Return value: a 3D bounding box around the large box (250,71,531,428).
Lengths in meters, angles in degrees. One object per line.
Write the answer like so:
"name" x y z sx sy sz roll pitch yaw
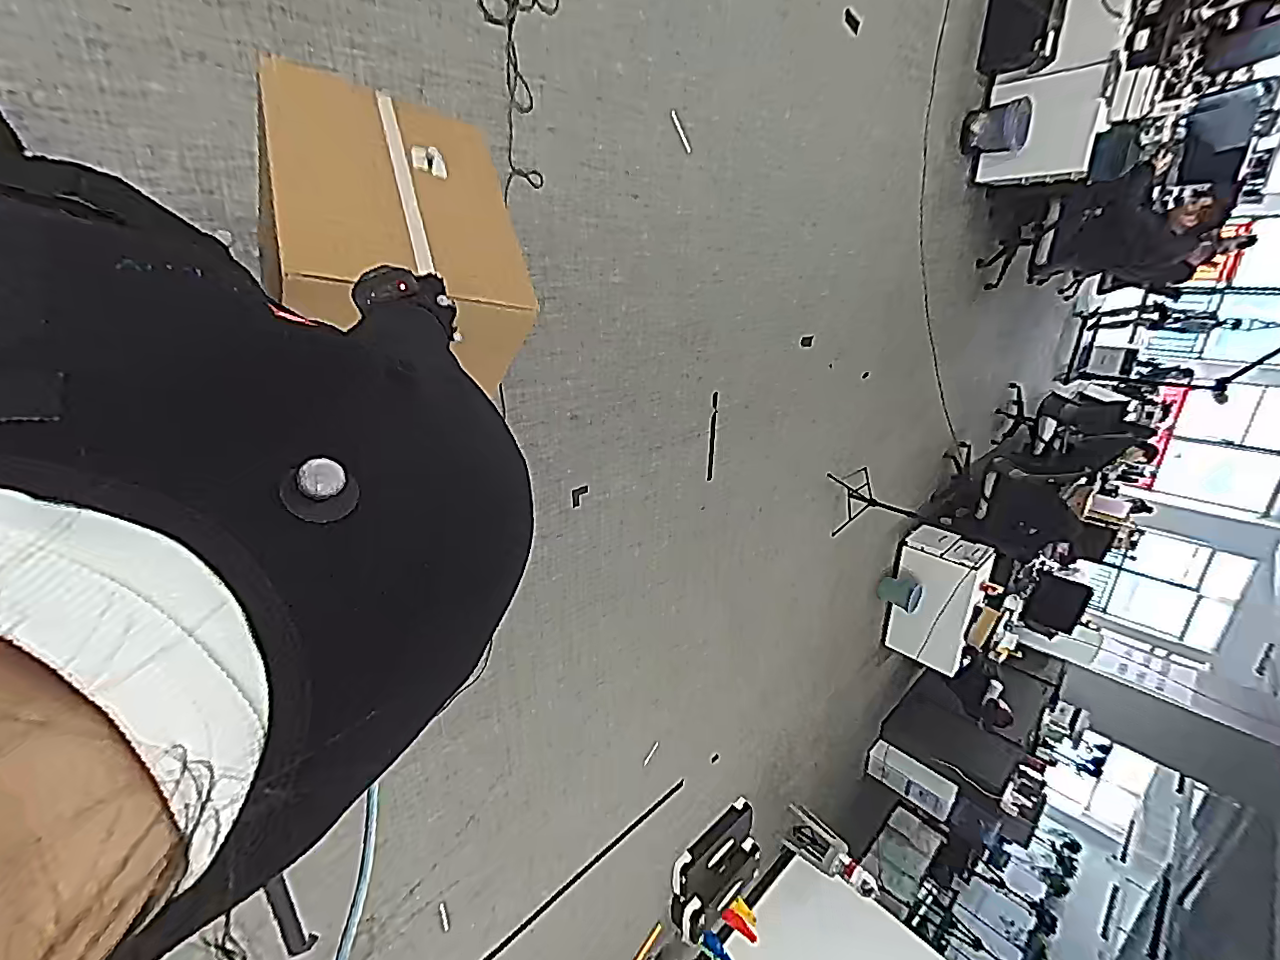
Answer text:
"large box" -0.423 -0.331 0.873 0.320 0.408 0.320 -4 152 -39
